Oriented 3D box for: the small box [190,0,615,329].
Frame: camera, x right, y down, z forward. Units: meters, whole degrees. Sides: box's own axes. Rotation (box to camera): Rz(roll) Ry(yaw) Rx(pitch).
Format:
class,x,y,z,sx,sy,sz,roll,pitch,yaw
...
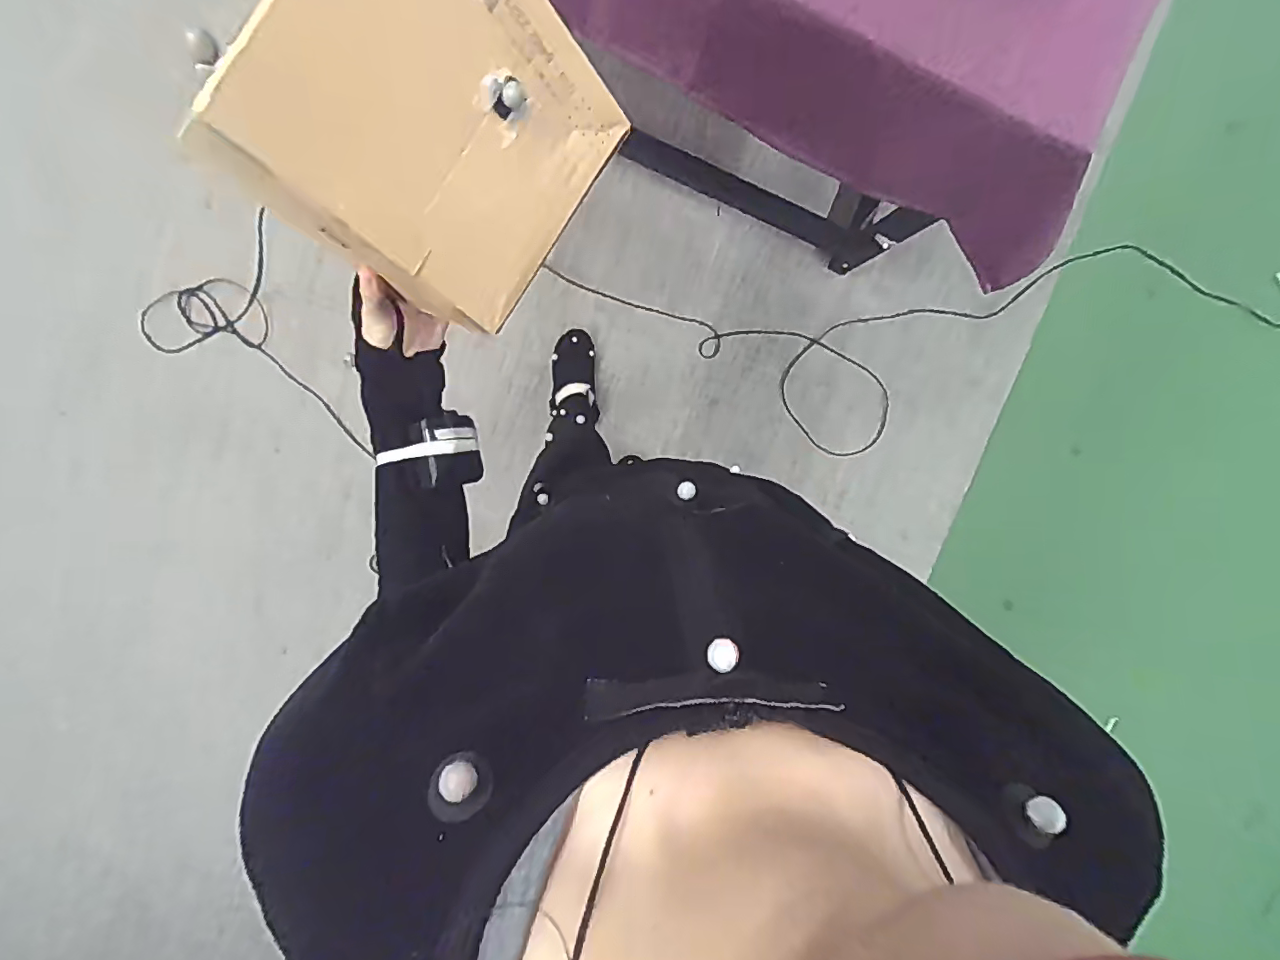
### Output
class,x,y,z,sx,sy,sz,roll,pitch,yaw
small box,-0.149,-0.228,0.354,0.168,0.179,0.176,34,85,-47
